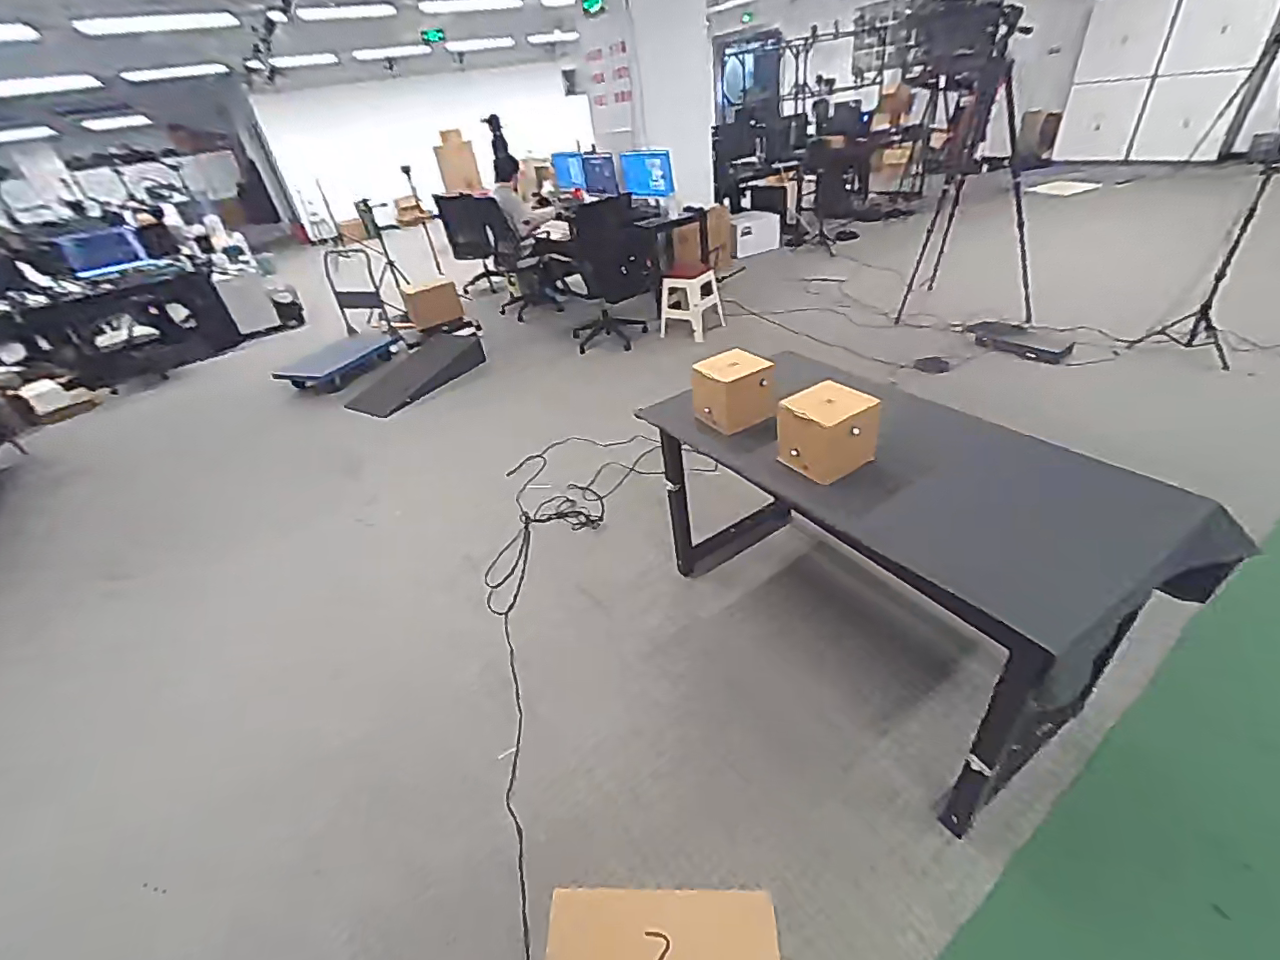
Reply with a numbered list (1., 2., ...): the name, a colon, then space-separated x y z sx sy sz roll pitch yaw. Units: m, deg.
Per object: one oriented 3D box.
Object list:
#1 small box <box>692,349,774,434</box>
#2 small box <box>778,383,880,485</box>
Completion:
1. small box: 0.267 -0.257 1.573 0.179 0.176 0.168 -23 38 -22
2. small box: 0.459 -0.115 1.341 0.179 0.176 0.168 -24 39 -22
